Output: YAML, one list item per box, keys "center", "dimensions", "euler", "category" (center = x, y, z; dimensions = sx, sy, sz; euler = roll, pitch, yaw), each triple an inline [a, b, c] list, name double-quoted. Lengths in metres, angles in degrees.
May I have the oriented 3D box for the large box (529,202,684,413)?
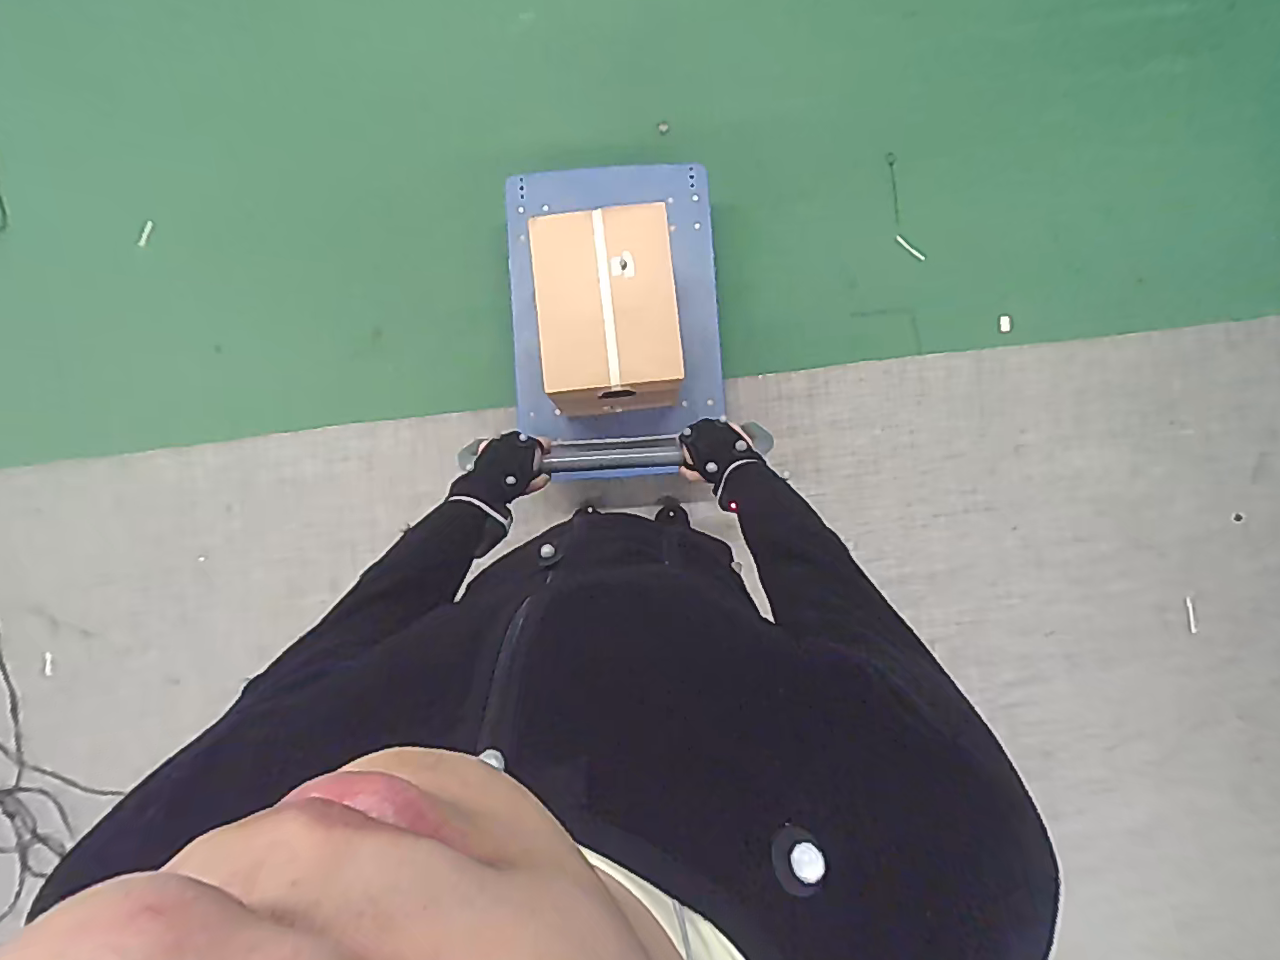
- center: [-0.073, -0.405, 1.357]
  dimensions: [0.320, 0.320, 0.408]
  euler: [-6, 87, 0]
  category: "large box"
